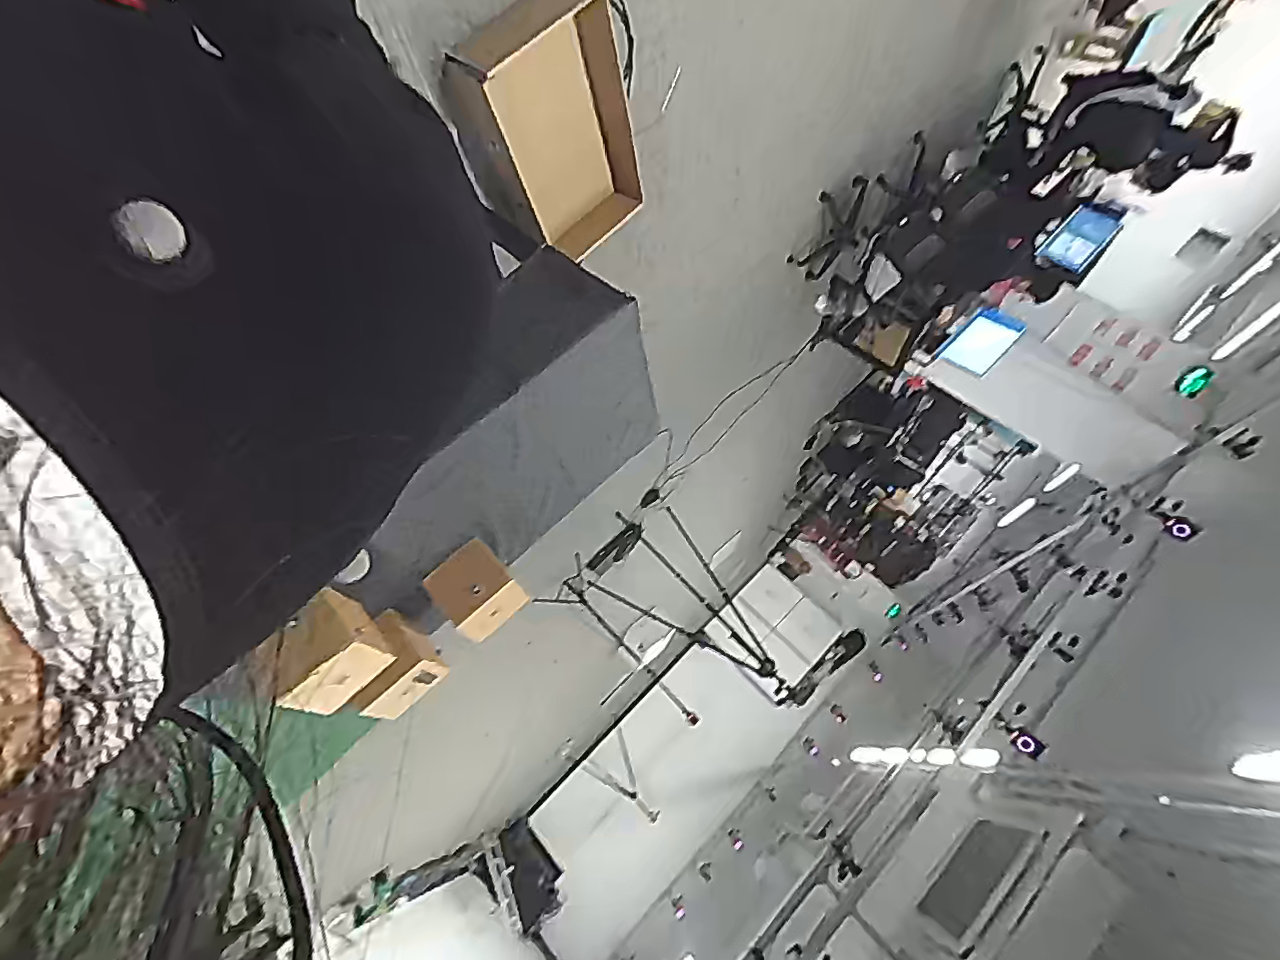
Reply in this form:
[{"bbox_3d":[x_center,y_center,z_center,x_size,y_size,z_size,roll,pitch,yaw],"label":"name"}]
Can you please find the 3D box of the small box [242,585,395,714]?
[{"bbox_3d":[-0.641,0.339,1.087,0.168,0.176,0.179,-42,157,-17],"label":"small box"}]
